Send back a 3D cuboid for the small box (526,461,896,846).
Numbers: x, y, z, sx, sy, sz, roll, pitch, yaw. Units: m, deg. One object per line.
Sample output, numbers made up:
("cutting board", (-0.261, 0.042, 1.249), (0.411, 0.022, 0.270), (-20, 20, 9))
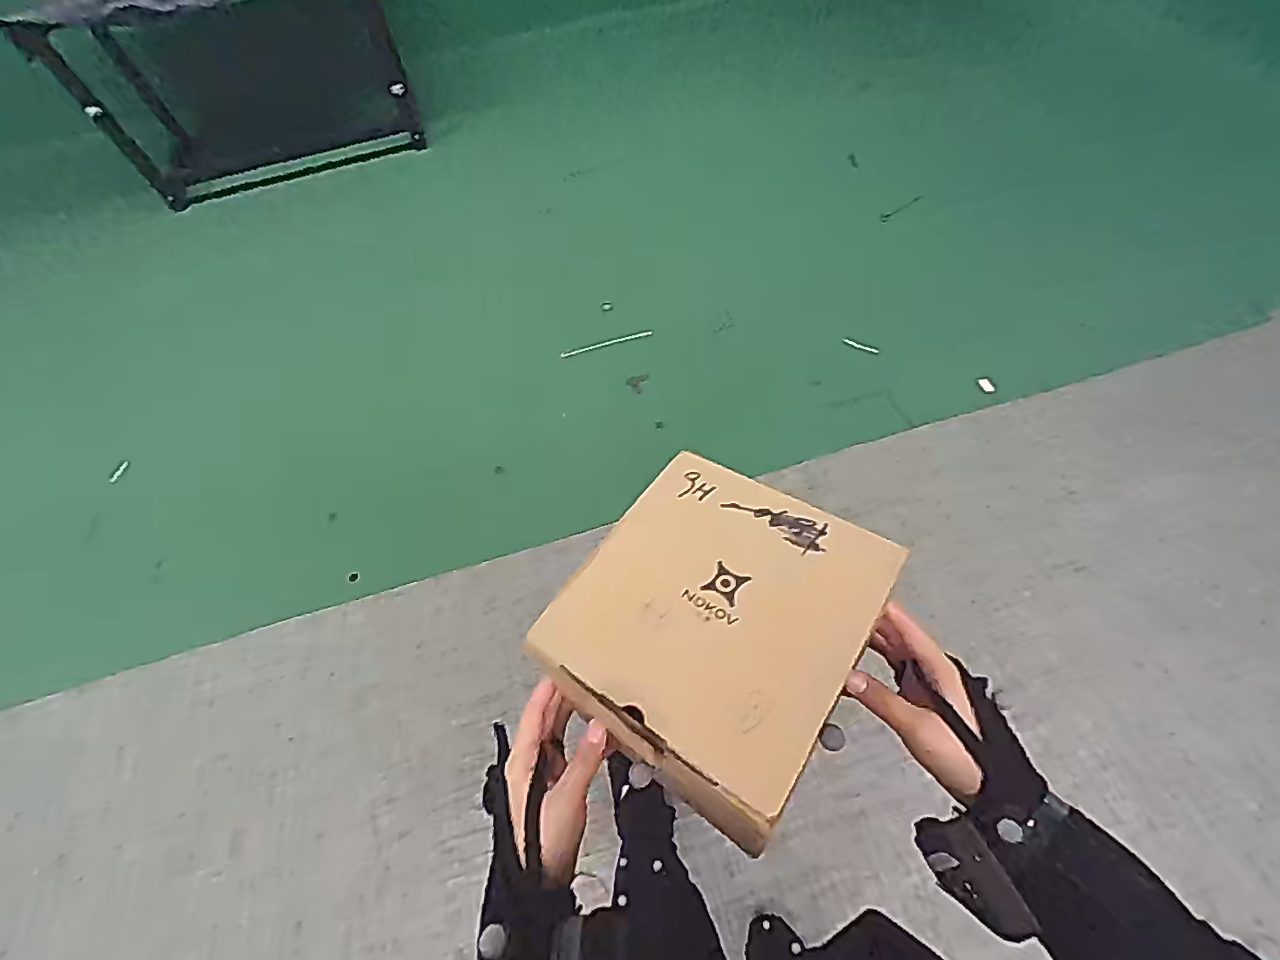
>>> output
("small box", (0.055, 0.125, 0.389), (0.168, 0.176, 0.179), (27, 60, 28))
